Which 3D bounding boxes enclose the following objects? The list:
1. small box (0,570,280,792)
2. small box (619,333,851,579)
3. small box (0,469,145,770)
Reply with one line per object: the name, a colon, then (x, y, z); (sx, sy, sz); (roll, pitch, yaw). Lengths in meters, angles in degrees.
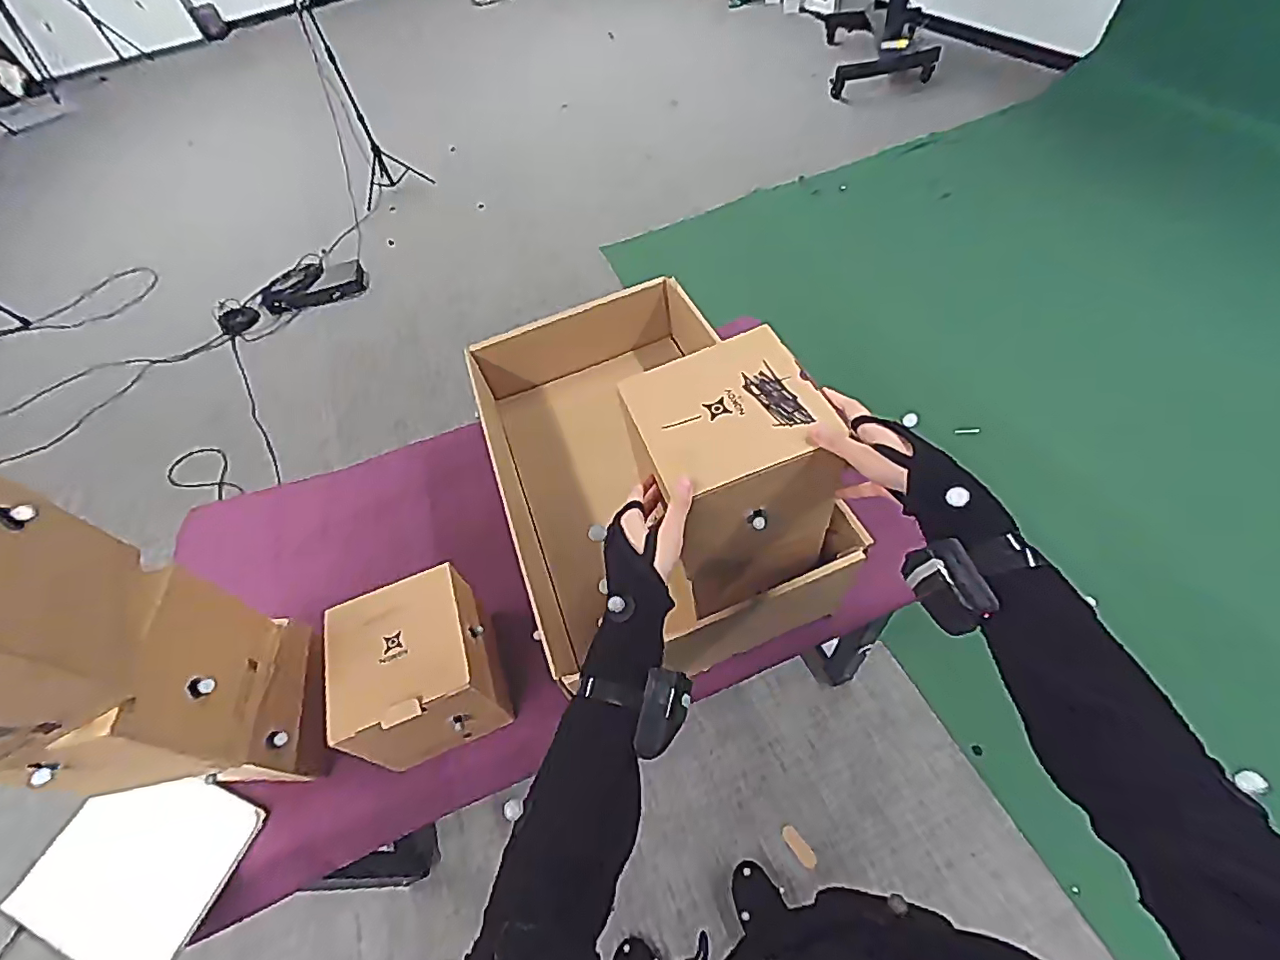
small box: (-0.531, 0.218, 0.575); (0.179, 0.176, 0.168); (-12, 53, 1)
small box: (0.094, -0.020, 0.583); (0.179, 0.176, 0.168); (-21, 54, -4)
small box: (-0.559, 0.123, 0.444); (0.168, 0.176, 0.179); (-30, 55, -12)
